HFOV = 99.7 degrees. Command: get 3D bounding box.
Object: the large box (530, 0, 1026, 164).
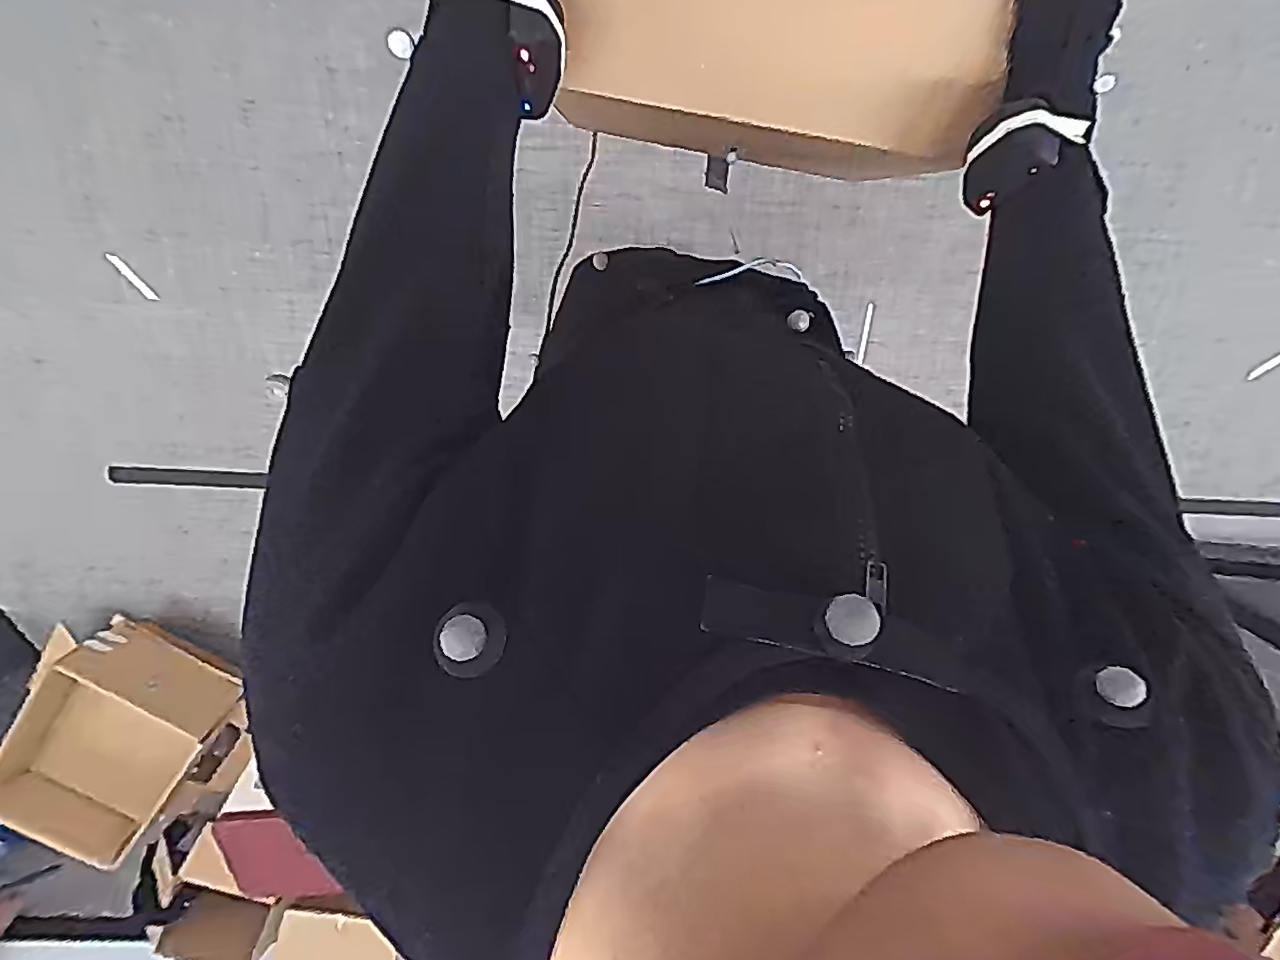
[{"bbox_3d":[0.128,-0.524,0.536,0.408,0.320,0.320,9,116,-3],"label":"large box"}]
